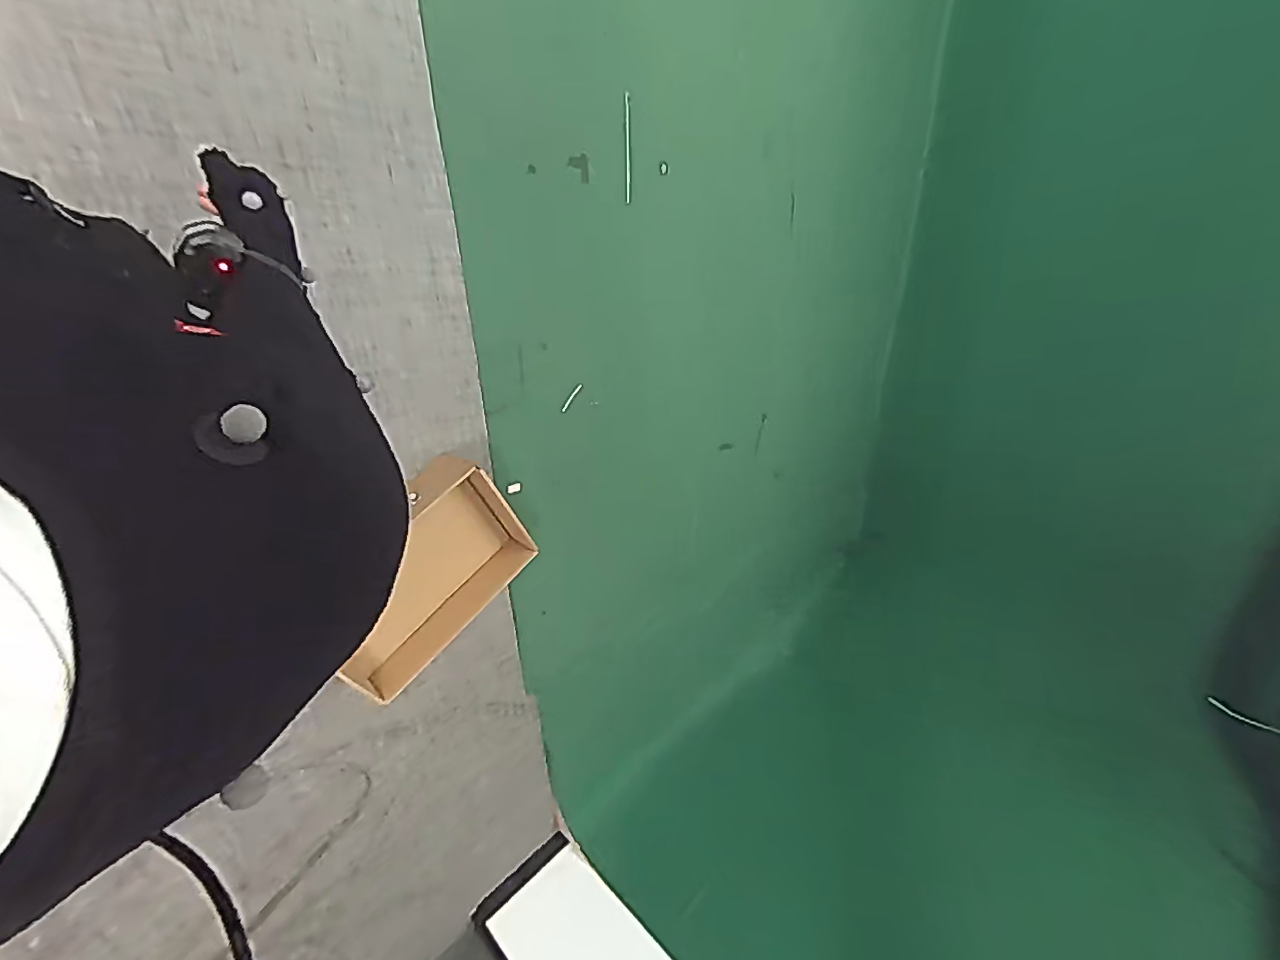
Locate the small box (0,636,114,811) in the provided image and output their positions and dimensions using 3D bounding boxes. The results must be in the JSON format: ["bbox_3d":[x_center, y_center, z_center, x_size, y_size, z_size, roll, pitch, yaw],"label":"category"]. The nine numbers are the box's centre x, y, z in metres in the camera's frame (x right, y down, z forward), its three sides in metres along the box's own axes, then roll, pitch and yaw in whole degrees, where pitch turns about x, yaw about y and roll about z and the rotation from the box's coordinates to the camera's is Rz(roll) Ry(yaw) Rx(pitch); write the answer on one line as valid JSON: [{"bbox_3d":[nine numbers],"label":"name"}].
[{"bbox_3d":[-0.945,0.367,0.819,0.179,0.176,0.168,-17,118,-44],"label":"small box"}]
